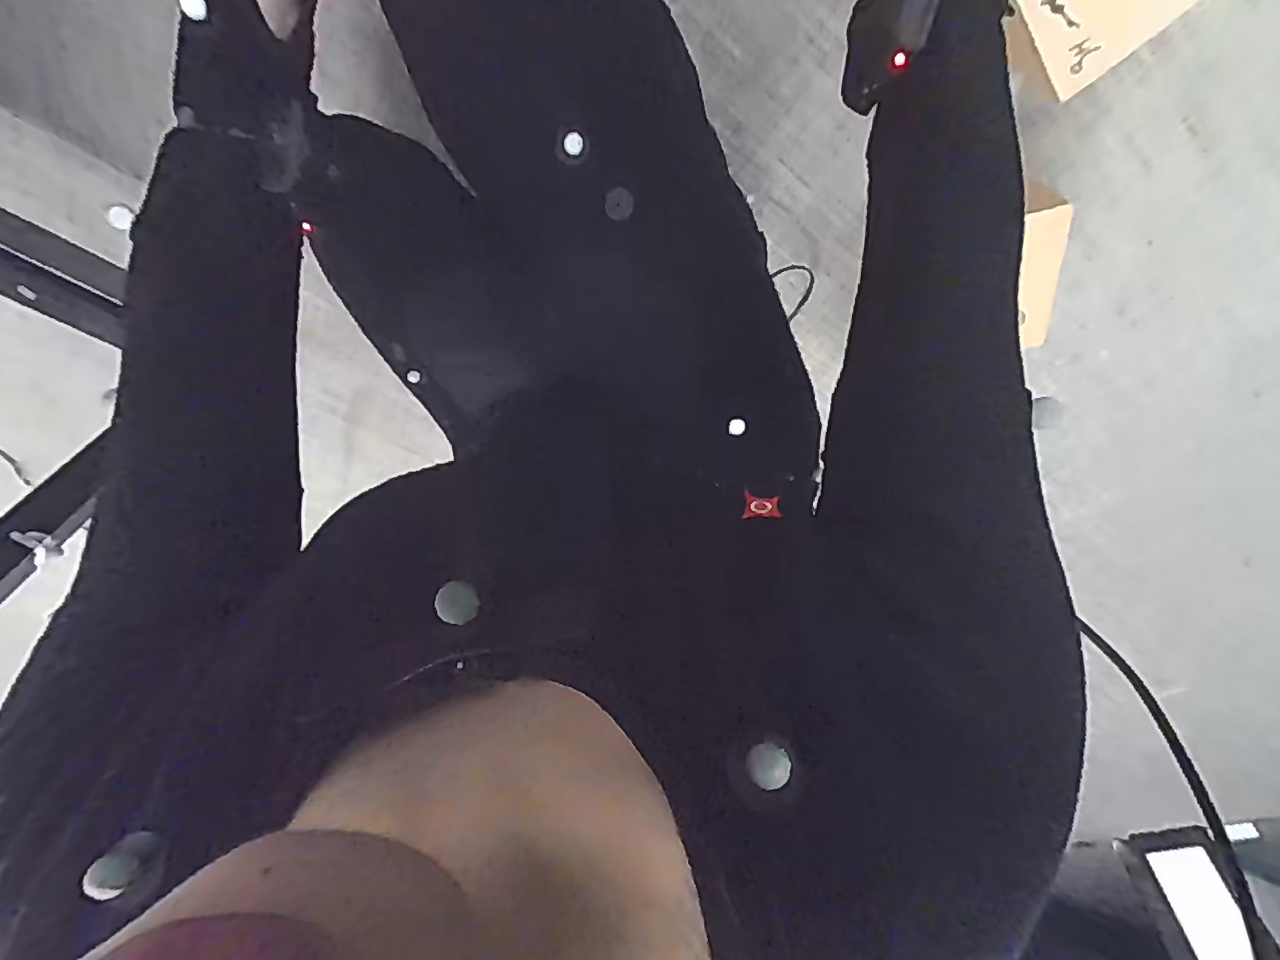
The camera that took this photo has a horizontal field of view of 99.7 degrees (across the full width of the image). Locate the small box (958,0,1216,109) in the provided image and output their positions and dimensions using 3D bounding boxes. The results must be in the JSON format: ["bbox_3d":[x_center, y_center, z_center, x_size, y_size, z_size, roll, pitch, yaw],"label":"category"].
[{"bbox_3d":[0.408,-0.488,0.483,0.168,0.176,0.179,37,127,-28],"label":"small box"}]
